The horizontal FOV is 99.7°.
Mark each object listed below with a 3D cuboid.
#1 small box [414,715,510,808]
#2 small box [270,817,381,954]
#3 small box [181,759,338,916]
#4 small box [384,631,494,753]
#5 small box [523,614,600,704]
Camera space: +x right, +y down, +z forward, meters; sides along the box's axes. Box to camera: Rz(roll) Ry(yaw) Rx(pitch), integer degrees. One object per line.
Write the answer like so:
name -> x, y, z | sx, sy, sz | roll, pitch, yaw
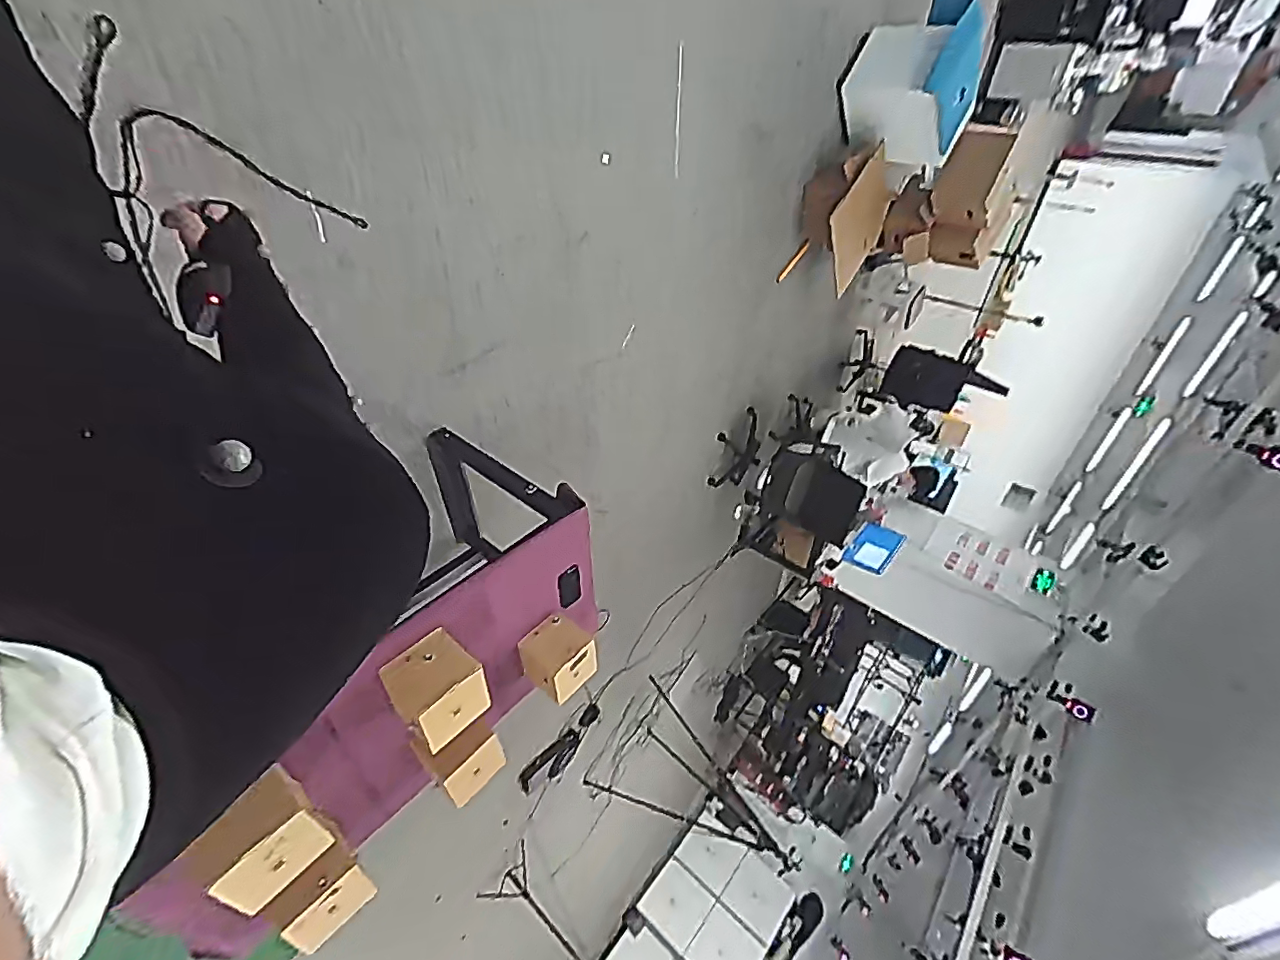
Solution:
small box -> -0.482, 0.738, 1.473 | 0.168, 0.176, 0.179 | -37, 141, -36
small box -> -0.735, 0.924, 1.244 | 0.168, 0.176, 0.179 | -36, 141, -37
small box -> -0.731, 0.684, 1.048 | 0.168, 0.176, 0.179 | -38, 142, -36
small box -> -0.475, 0.496, 1.285 | 0.168, 0.176, 0.179 | -35, 141, -37
small box -> -0.242, 0.542, 1.667 | 0.168, 0.176, 0.179 | -36, 142, -35
